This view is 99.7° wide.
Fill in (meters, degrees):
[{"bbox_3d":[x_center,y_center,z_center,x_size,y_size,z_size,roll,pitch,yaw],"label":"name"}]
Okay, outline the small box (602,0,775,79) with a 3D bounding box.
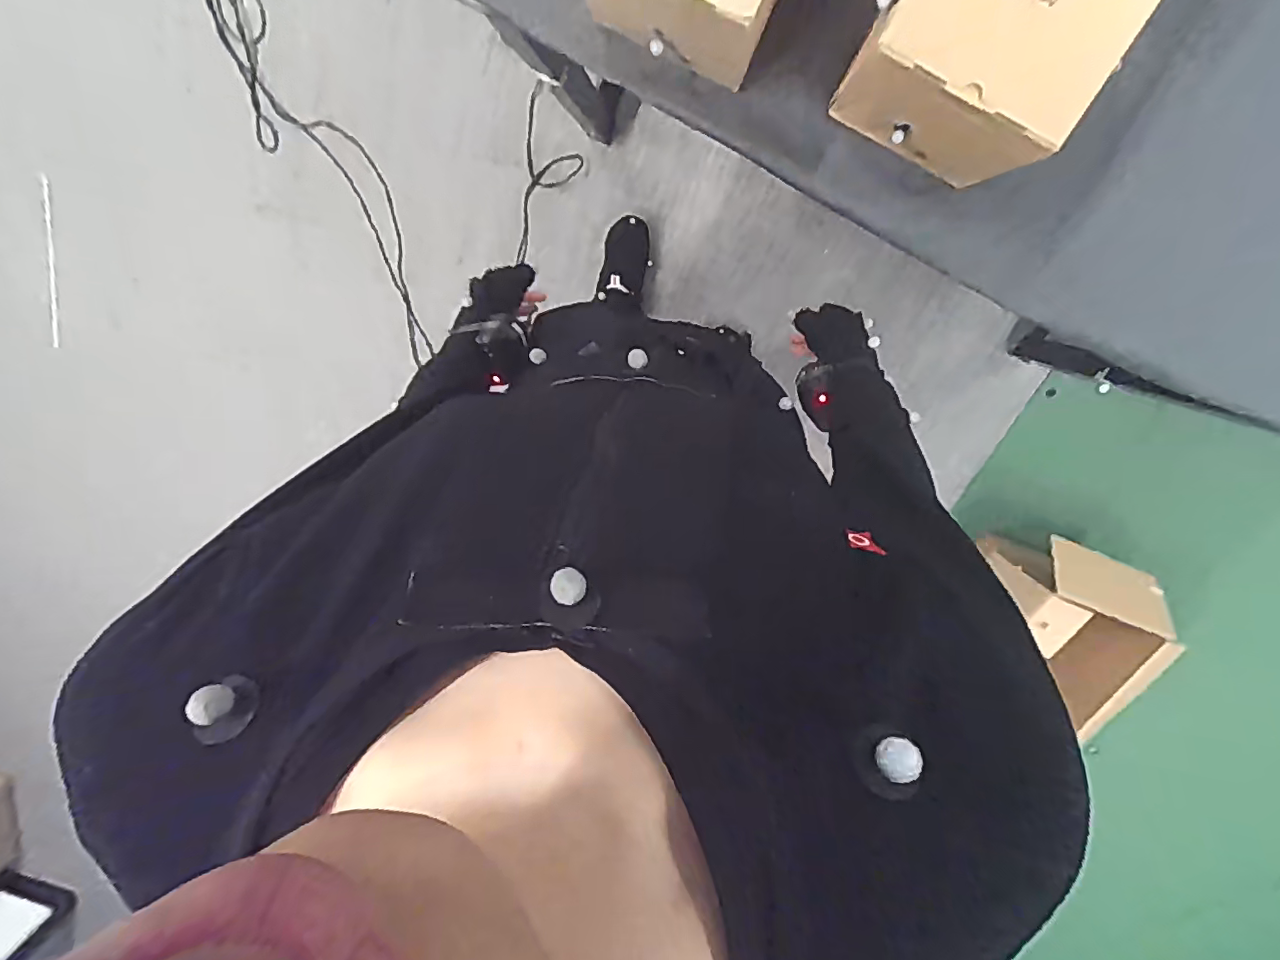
[{"bbox_3d":[0.054,-0.488,0.451,0.168,0.176,0.179,24,113,-3],"label":"small box"}]
